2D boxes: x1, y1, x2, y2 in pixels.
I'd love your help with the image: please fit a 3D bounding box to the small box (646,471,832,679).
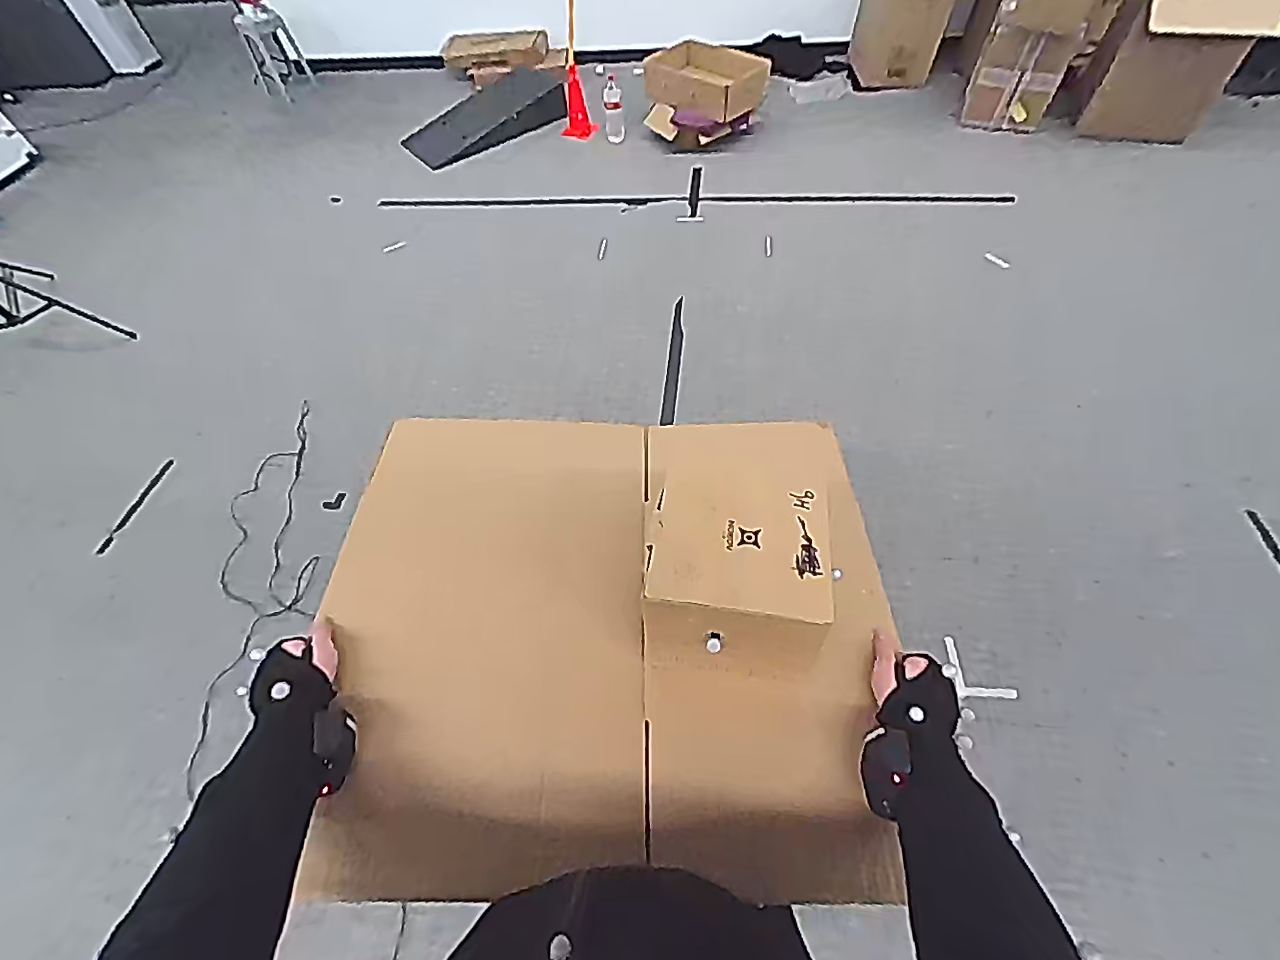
[{"bbox_3d":[0.110,0.110,0.613,0.179,0.176,0.168,5,51,9],"label":"small box"}]
